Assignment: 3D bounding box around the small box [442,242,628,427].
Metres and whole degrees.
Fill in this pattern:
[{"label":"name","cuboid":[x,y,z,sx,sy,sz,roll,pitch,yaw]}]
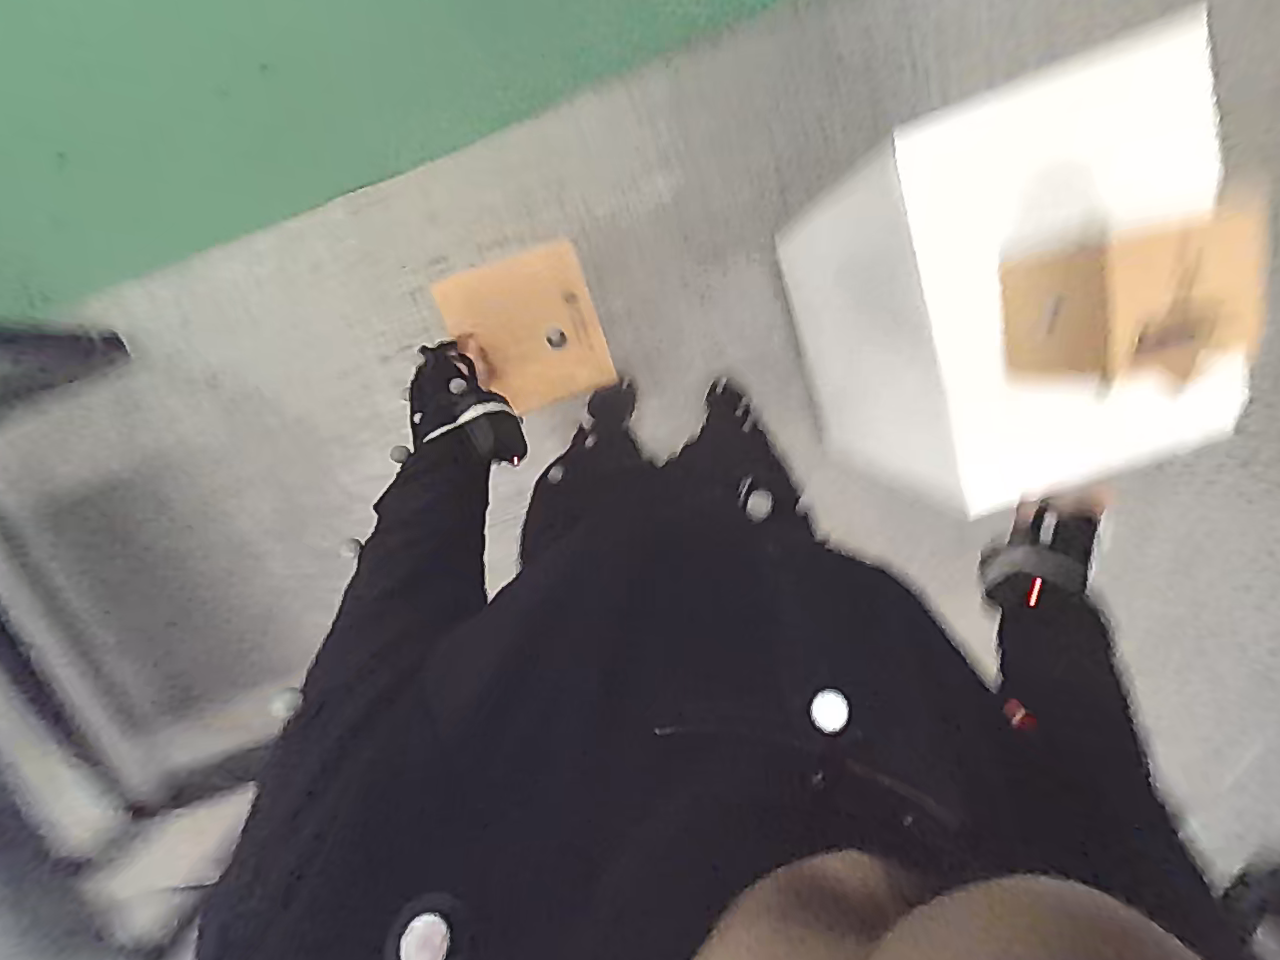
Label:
[{"label":"small box","cuboid":[-0.119,-0.181,0.685,0.176,0.179,0.168,-19,105,-1]}]
